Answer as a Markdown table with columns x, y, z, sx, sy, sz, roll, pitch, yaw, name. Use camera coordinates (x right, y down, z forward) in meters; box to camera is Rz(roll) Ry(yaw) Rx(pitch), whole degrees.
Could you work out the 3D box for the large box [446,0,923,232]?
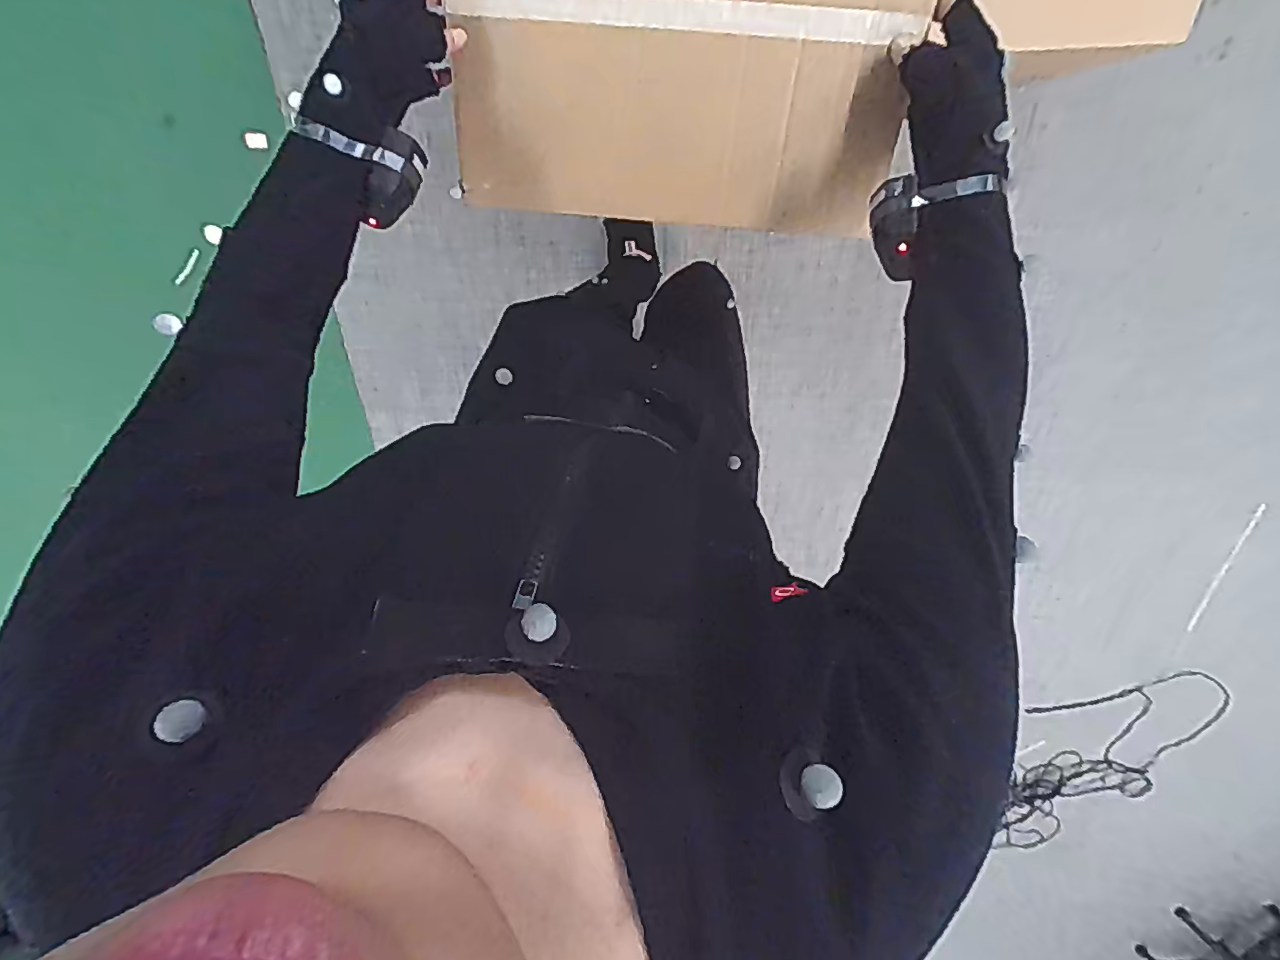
| x | y | z | sx | sy | sz | roll | pitch | yaw | name |
| --- | --- | --- | --- | --- | --- | --- | --- | --- | --- |
| 0.044 | -0.472 | 0.577 | 0.408 | 0.320 | 0.320 | 5 | 123 | 1 | large box |
